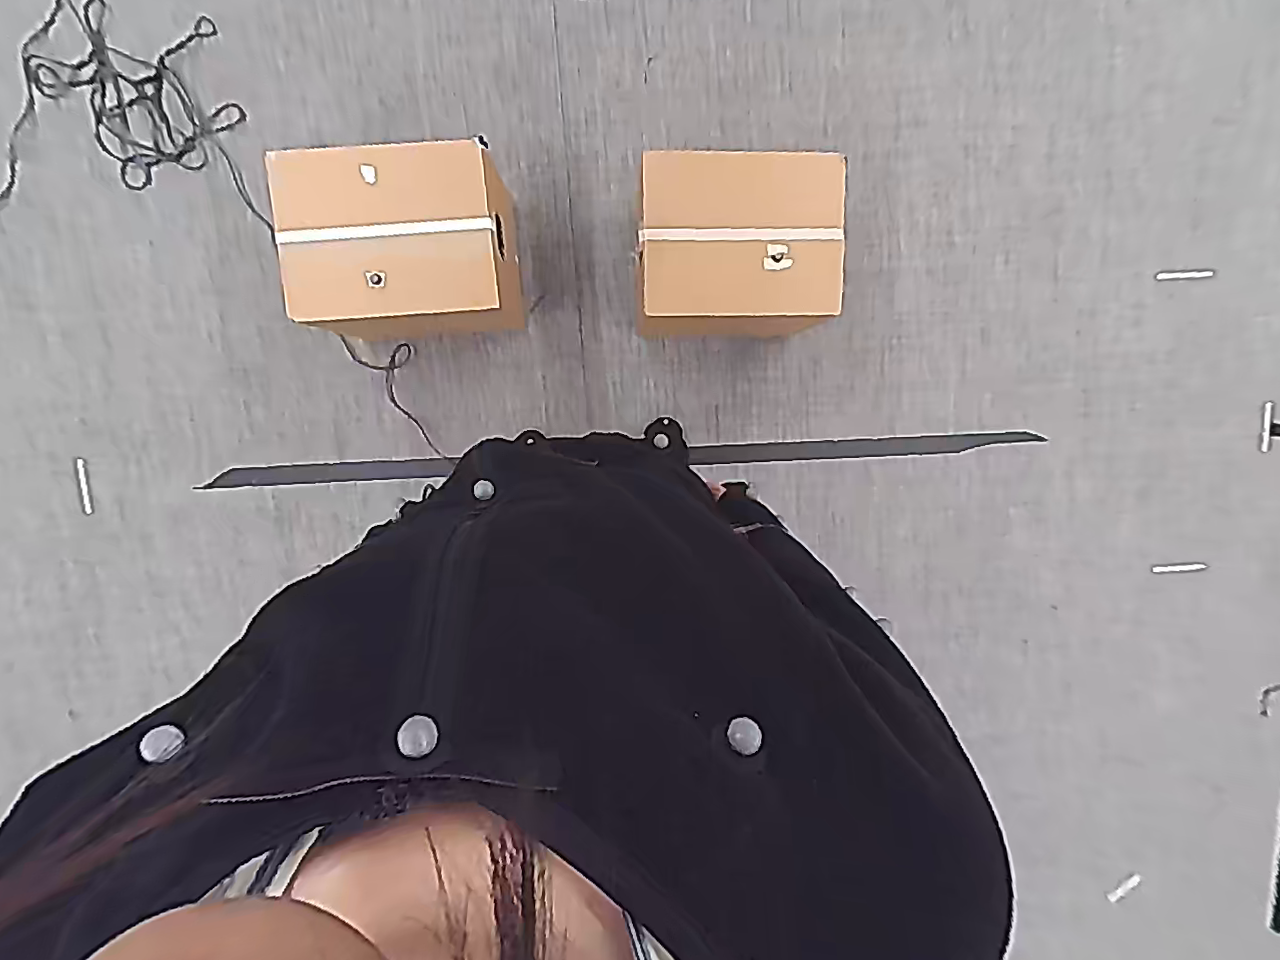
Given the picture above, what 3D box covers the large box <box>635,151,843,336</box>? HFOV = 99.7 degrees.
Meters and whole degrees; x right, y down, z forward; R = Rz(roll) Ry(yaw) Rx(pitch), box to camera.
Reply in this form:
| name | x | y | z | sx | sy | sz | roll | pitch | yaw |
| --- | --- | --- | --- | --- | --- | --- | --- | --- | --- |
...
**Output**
| name | x | y | z | sx | sy | sz | roll | pitch | yaw |
| --- | --- | --- | --- | --- | --- | --- | --- | --- | --- |
| large box | 0.199 | -0.509 | 1.228 | 0.408 | 0.320 | 0.320 | -1 | 98 | -4 |
